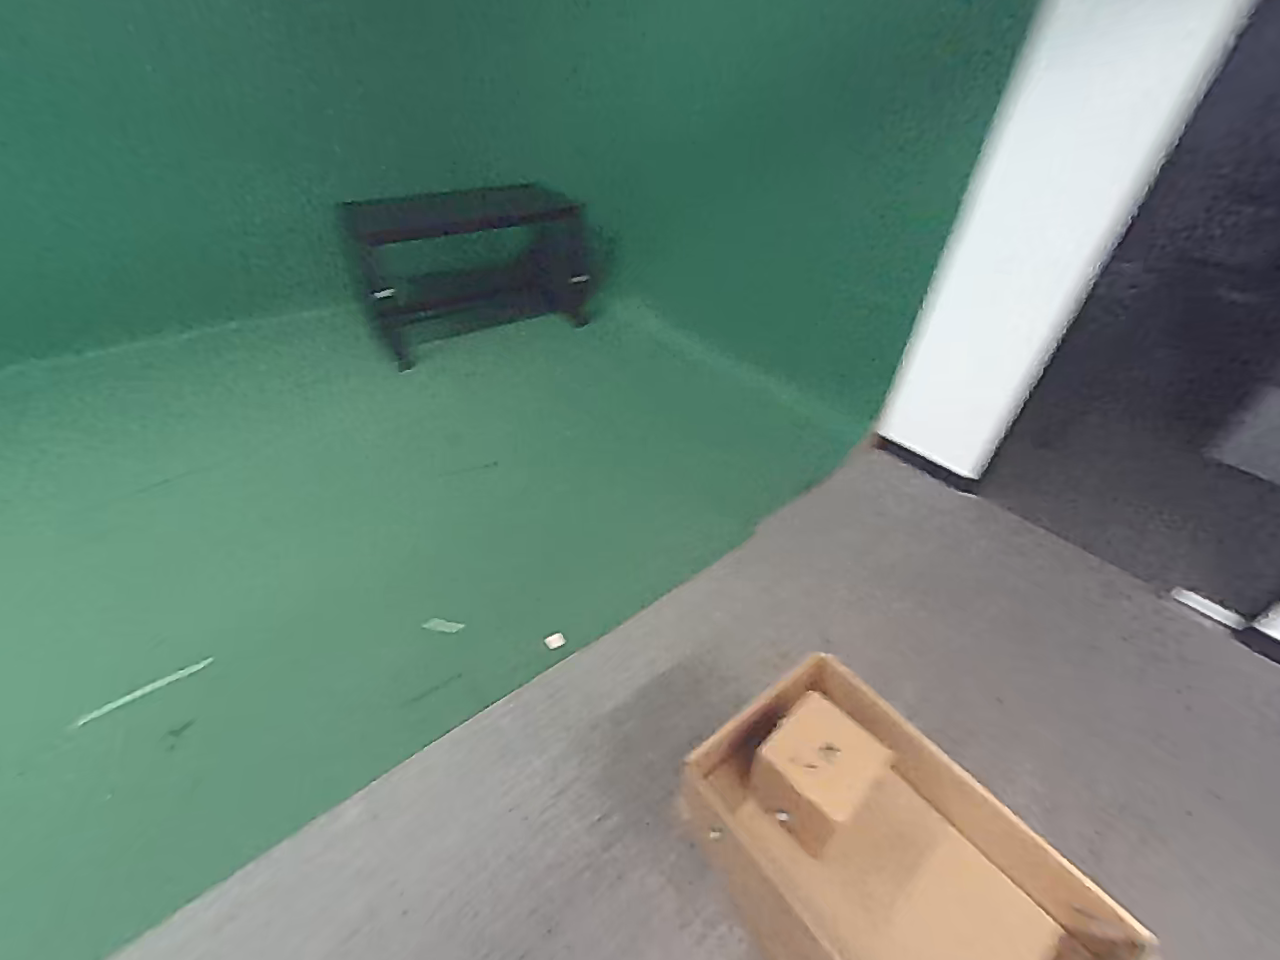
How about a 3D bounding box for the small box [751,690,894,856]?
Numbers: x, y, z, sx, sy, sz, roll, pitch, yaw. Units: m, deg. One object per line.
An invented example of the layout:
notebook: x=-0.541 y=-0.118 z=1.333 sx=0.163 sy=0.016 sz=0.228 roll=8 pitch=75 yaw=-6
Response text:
small box: x=0.323 y=0.533 z=0.989 sx=0.179 sy=0.176 sz=0.168 roll=-28 pitch=48 yaw=-32
